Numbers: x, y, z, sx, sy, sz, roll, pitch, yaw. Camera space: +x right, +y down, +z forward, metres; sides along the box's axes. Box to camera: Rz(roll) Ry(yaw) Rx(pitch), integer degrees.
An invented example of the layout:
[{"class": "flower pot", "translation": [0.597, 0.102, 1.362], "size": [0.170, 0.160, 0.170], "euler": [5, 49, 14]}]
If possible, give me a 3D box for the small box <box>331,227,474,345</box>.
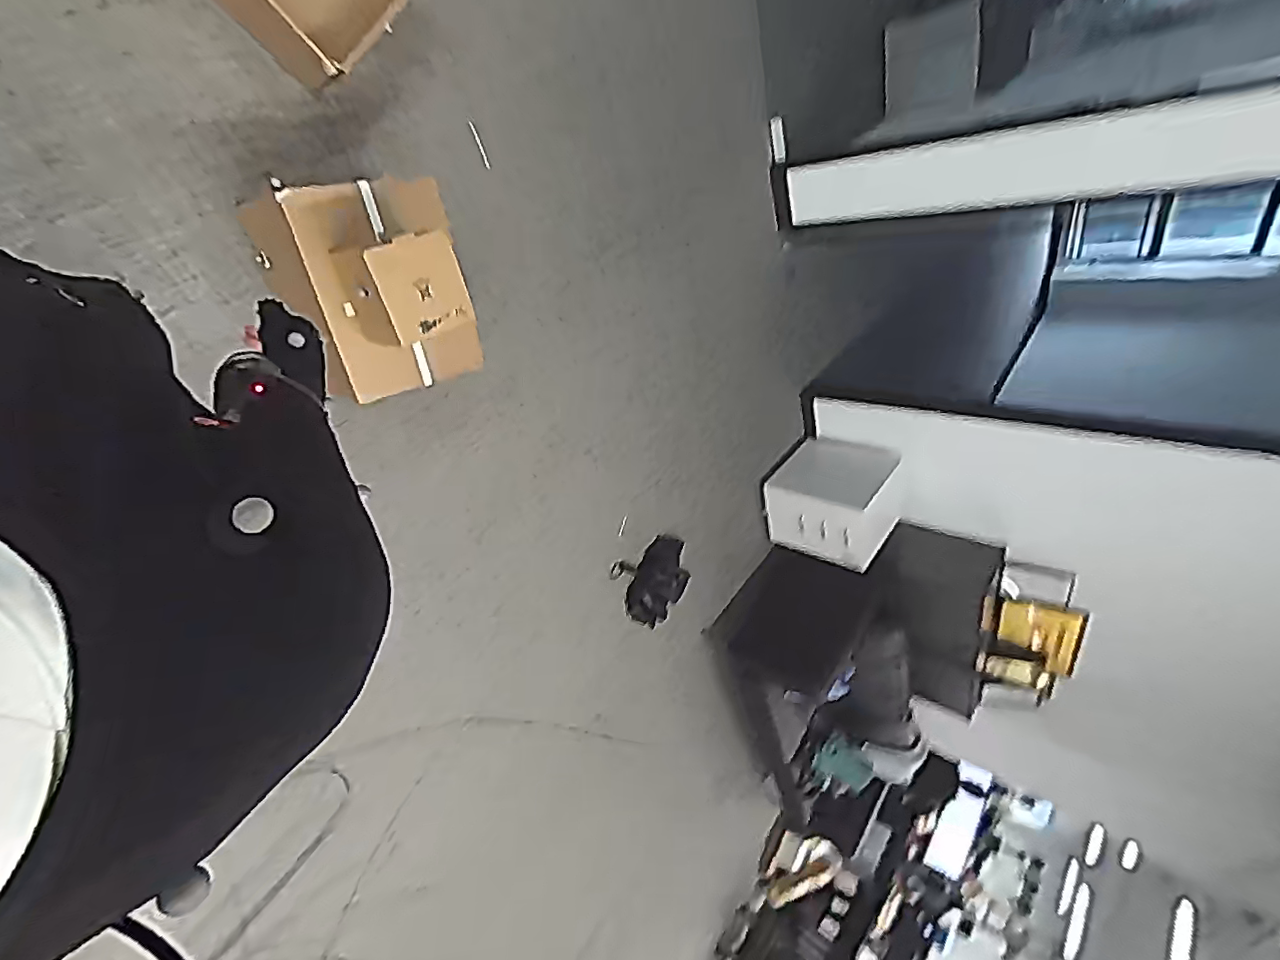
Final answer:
[{"class": "small box", "translation": [-0.461, -0.374, 1.048], "size": [0.168, 0.176, 0.179], "euler": [-36, 127, -34]}]
